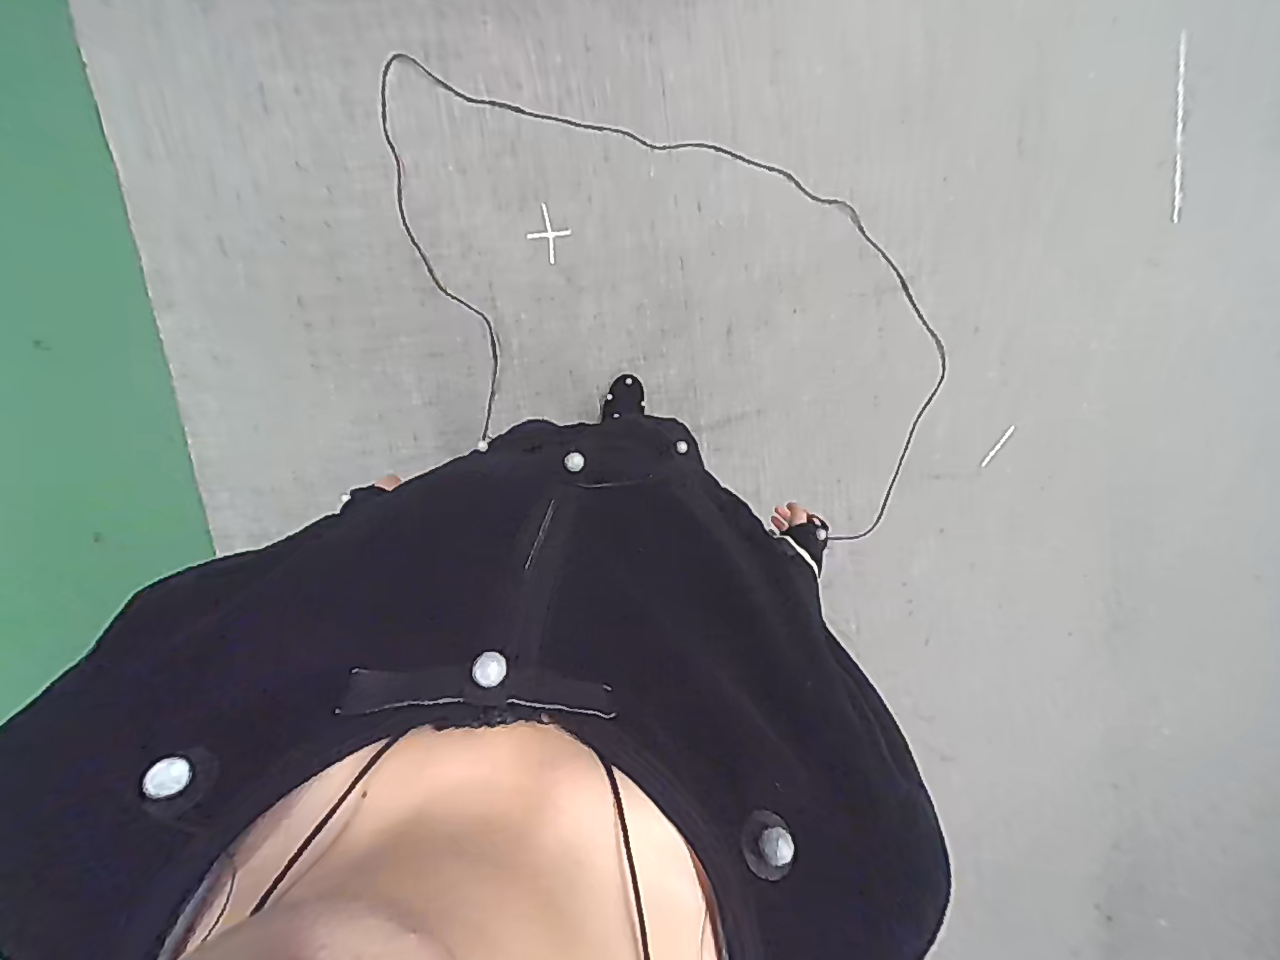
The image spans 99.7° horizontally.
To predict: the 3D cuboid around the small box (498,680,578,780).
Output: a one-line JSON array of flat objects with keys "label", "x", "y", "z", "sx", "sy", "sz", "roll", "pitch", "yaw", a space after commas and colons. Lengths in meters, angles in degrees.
[{"label": "small box", "x": -0.269, "y": 0.670, "z": 1.472, "sx": 0.179, "sy": 0.176, "sz": 0.168, "roll": -13, "pitch": 98, "yaw": -2}]
